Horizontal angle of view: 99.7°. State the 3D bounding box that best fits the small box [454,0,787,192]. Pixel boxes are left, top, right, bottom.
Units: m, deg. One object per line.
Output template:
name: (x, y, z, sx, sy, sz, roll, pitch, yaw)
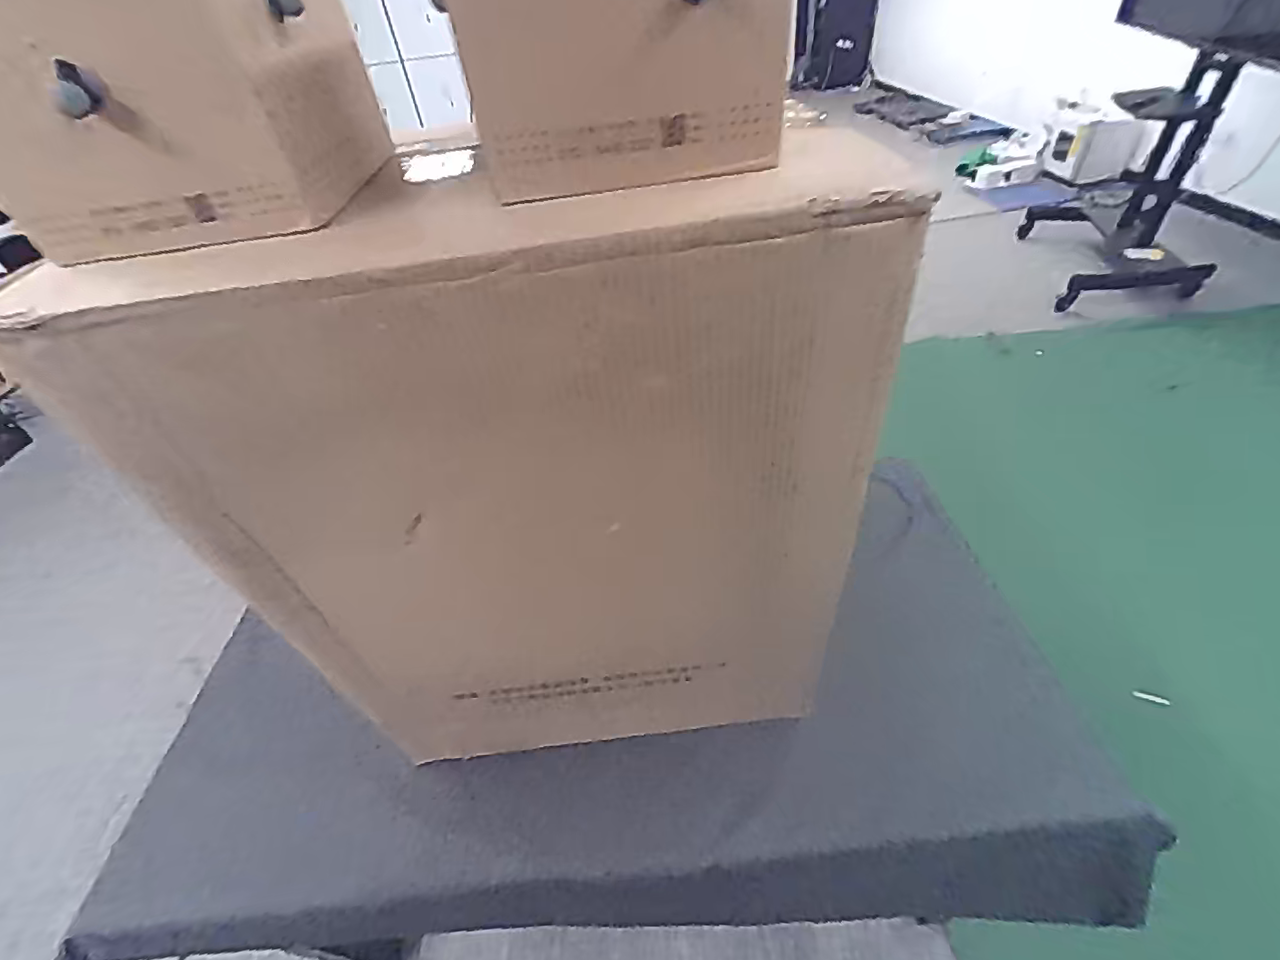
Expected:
small box: (-0.012, -0.282, 0.320, 0.168, 0.176, 0.179, -6, 44, -1)
